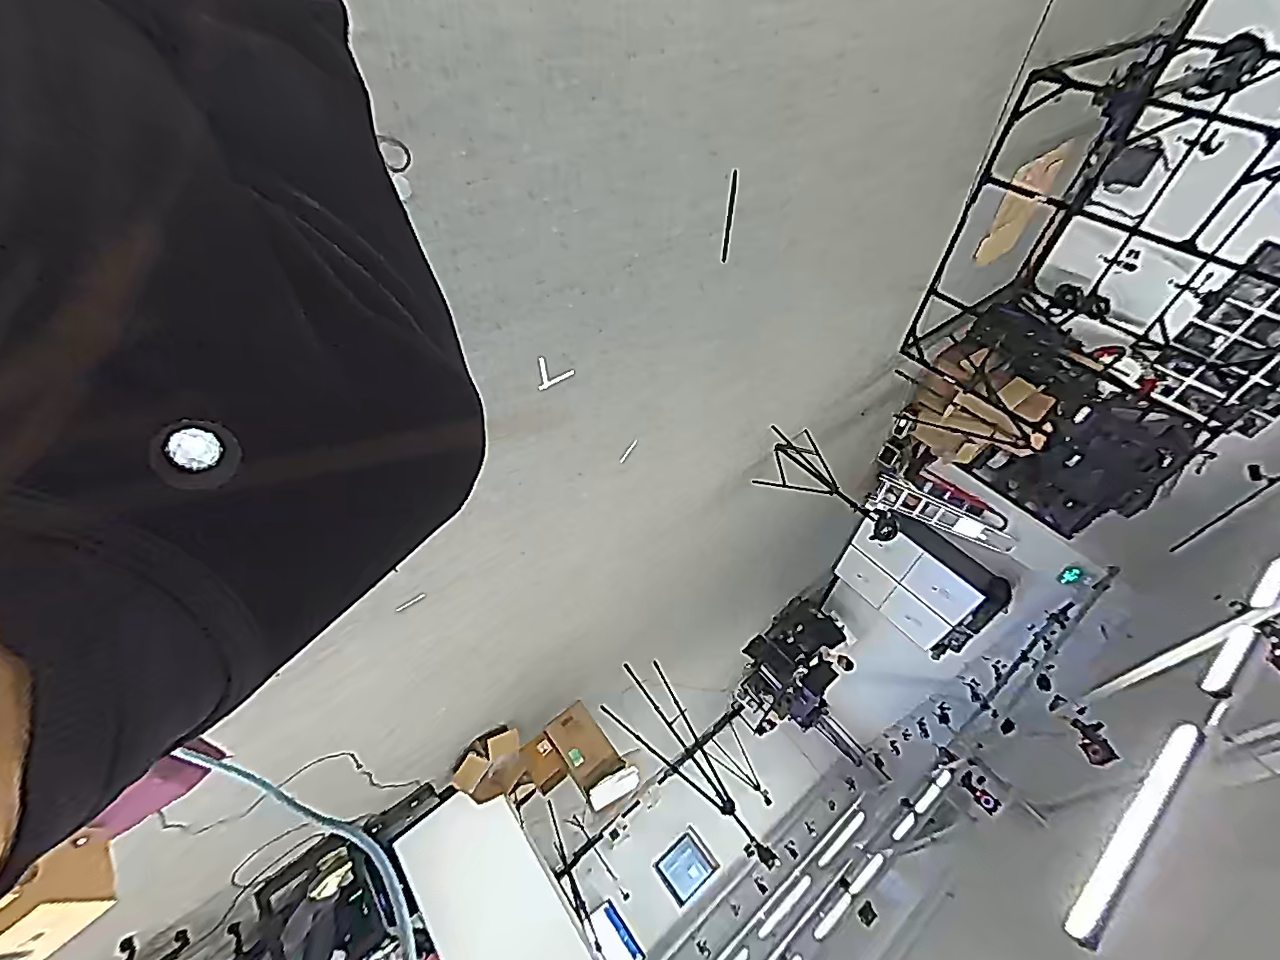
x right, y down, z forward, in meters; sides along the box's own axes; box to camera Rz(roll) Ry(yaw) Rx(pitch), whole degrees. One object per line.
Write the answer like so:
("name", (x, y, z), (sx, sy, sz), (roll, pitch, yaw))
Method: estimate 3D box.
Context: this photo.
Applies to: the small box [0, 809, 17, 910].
("small box", (-1.191, 0.663, 0.879), (0.179, 0.176, 0.168), (-34, 149, -21))
